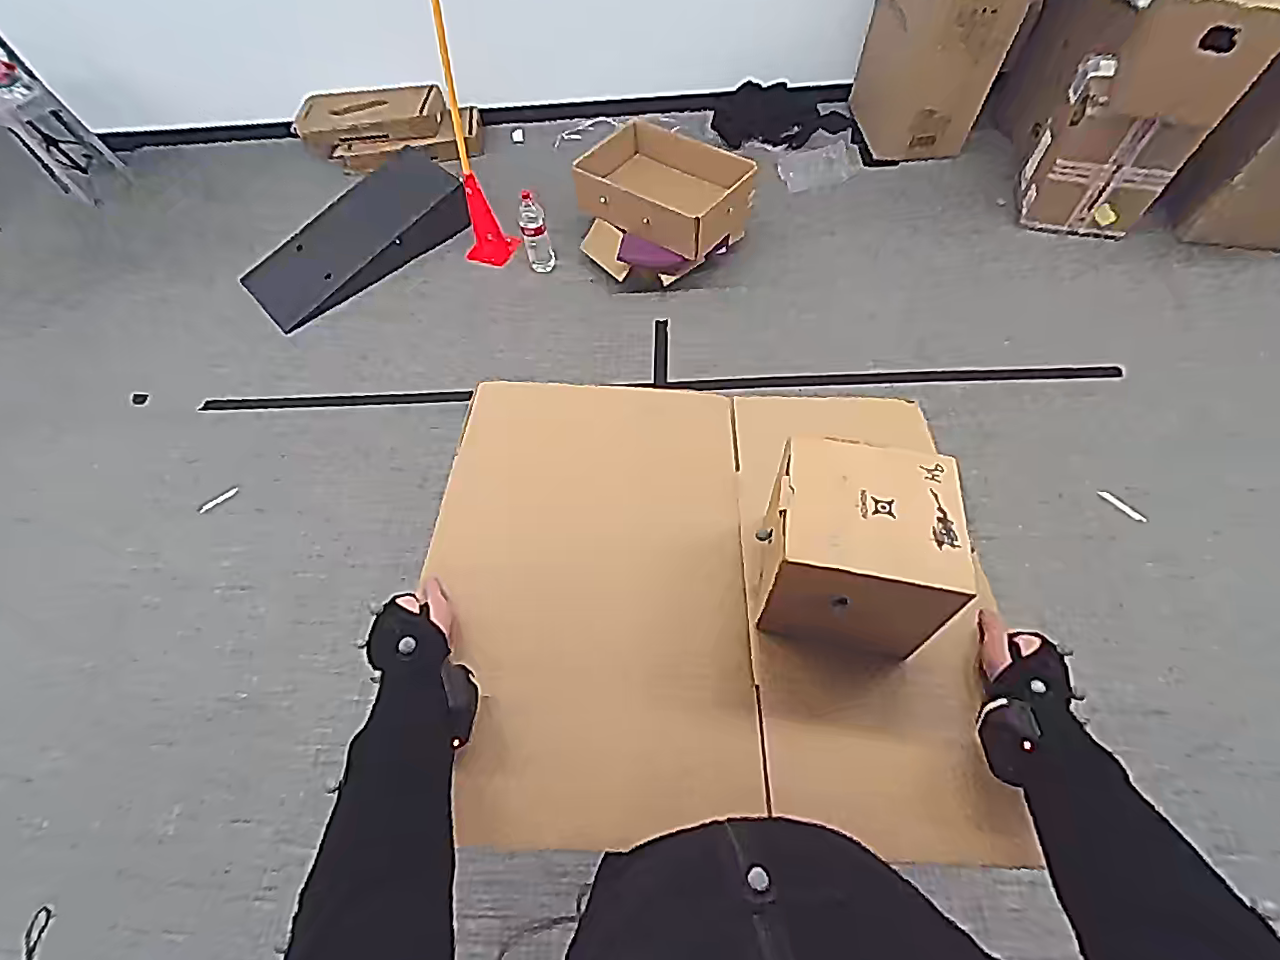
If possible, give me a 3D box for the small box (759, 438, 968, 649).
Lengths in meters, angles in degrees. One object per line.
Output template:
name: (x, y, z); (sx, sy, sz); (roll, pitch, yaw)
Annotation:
small box: (0.237, 0.076, 0.616); (0.179, 0.176, 0.168); (9, 54, 9)
